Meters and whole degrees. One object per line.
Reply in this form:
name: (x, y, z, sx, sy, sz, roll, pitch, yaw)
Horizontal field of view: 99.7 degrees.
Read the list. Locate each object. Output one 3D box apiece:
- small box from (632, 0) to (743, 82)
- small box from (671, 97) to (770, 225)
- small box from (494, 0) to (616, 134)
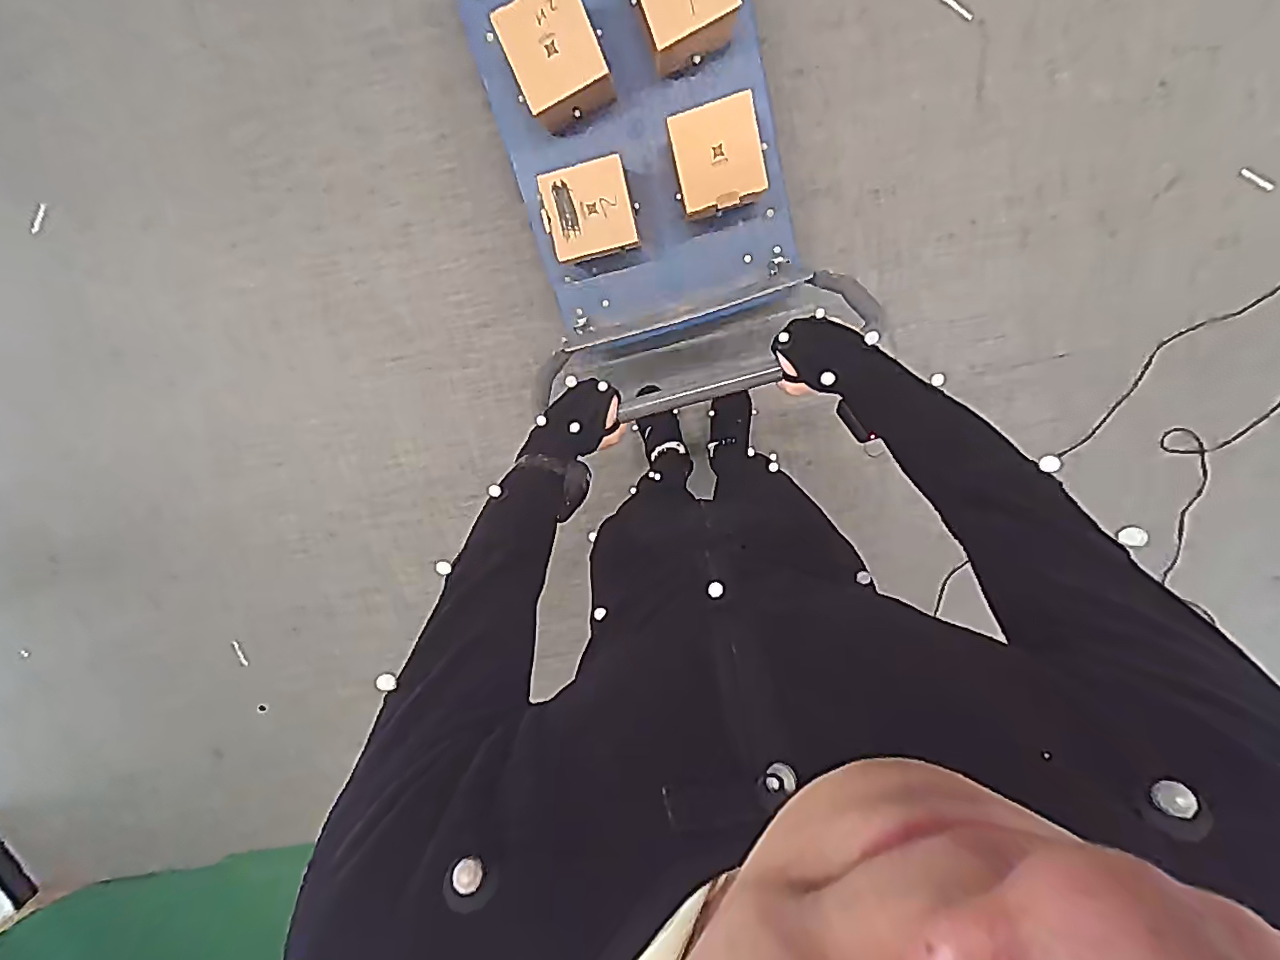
small box: (0.083, -0.910, 1.029, 0.168, 0.176, 0.179, -21, 109, 11)
small box: (0.161, -0.651, 1.126, 0.168, 0.176, 0.179, -14, 110, 9)
small box: (-0.158, -0.822, 1.077, 0.168, 0.176, 0.179, -22, 108, 10)
